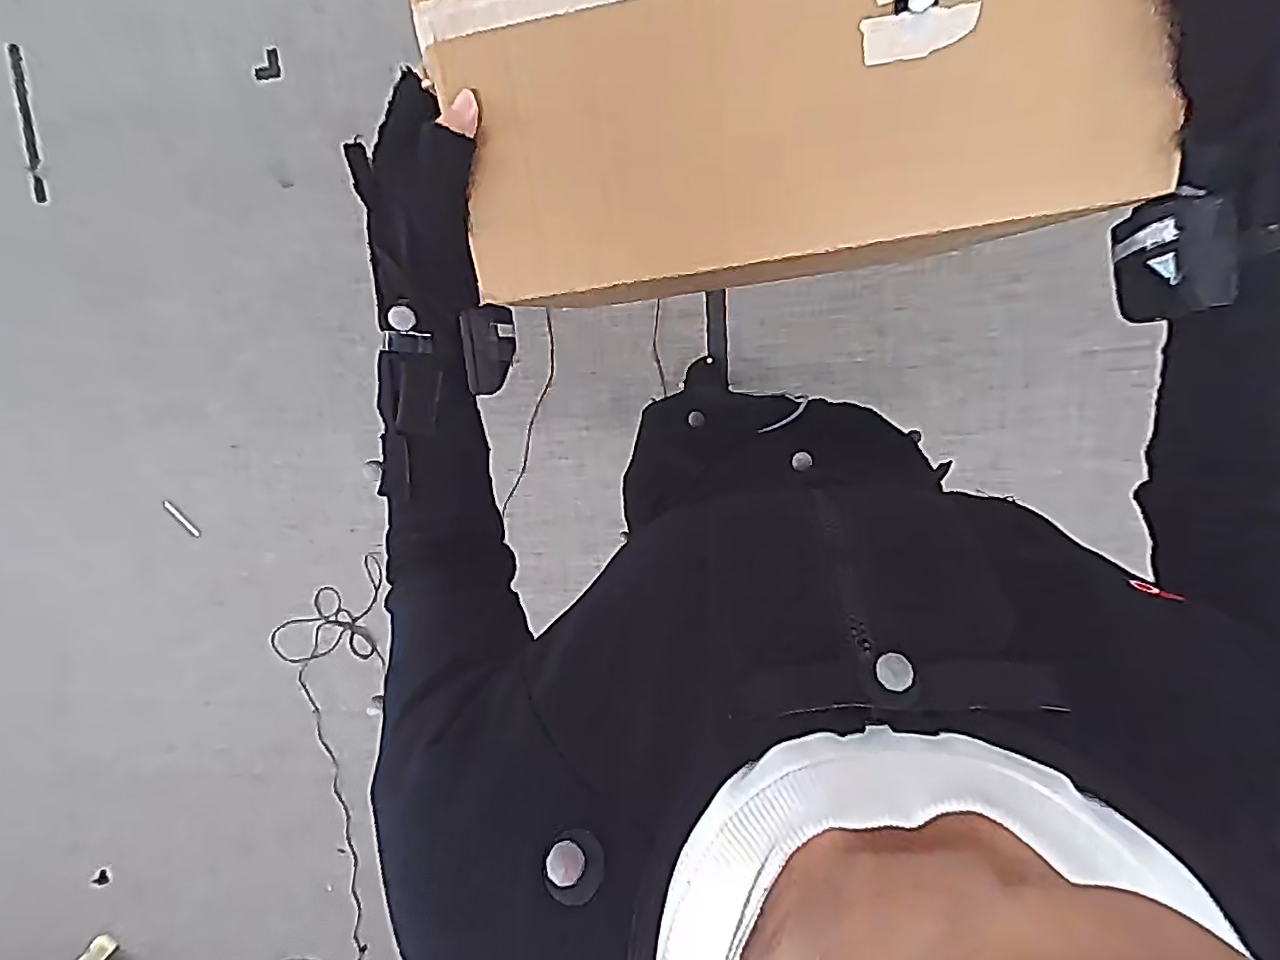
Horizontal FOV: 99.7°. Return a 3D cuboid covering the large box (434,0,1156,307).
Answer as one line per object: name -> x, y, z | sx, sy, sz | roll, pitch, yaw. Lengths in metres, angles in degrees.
large box -> 0.085, -0.336, 0.443 | 0.408, 0.320, 0.320 | -7, 107, 7
